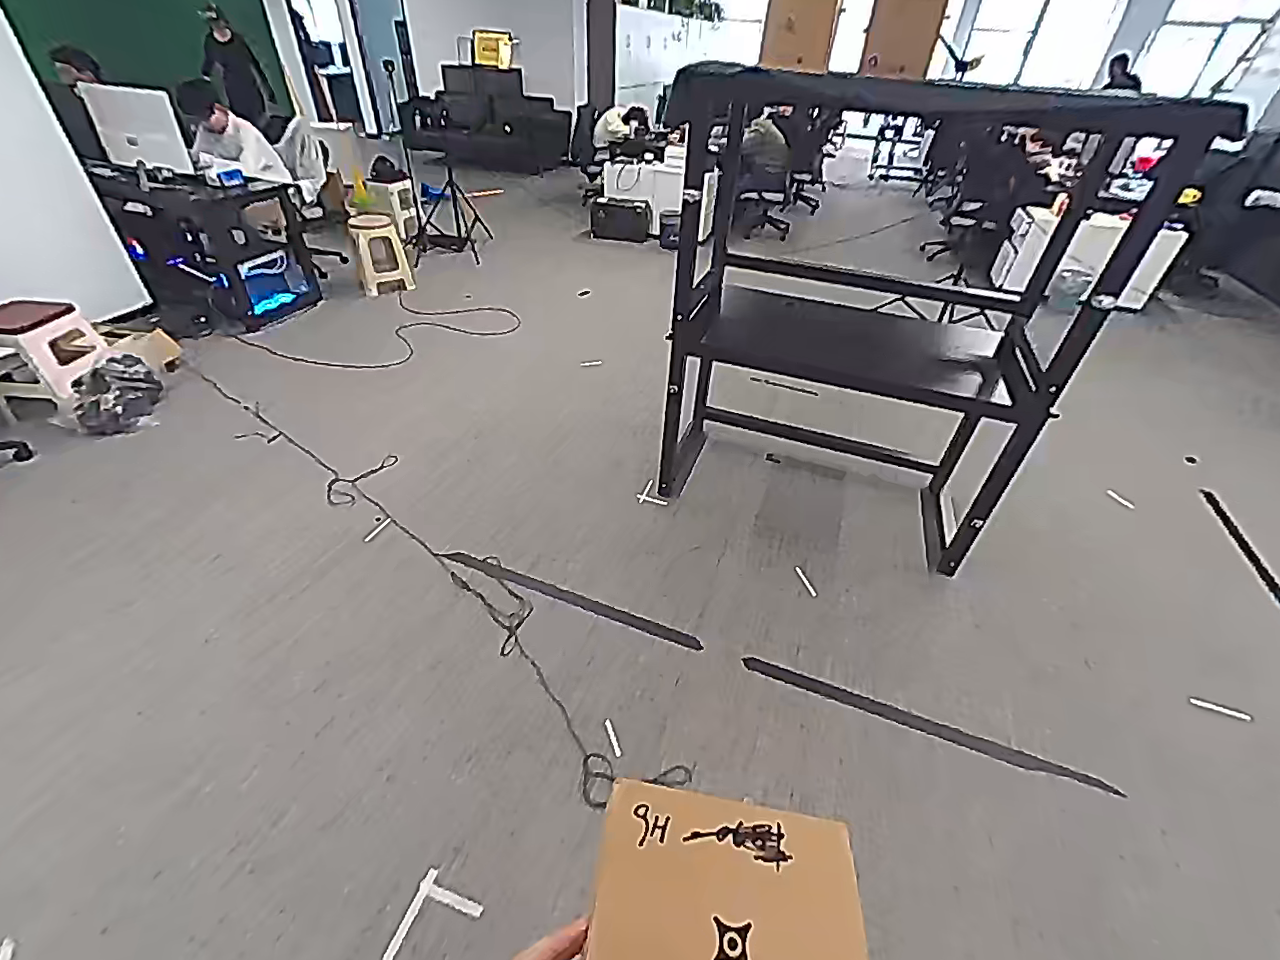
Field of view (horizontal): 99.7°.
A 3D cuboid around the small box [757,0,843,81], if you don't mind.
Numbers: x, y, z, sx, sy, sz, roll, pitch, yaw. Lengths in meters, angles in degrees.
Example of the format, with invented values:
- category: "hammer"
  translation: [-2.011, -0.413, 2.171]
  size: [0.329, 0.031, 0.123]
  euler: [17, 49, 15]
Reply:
- category: "small box"
  translation: [0.404, -1.123, 1.374]
  size: [0.168, 0.176, 0.179]
  euler: [16, 38, 13]

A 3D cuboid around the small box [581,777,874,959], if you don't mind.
- category: "small box"
  translation: [0.044, 0.336, 0.358]
  size: [0.168, 0.176, 0.179]
  euler: [11, 39, 1]

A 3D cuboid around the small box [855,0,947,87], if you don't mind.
- category: "small box"
  translation: [0.640, -1.077, 1.333]
  size: [0.168, 0.176, 0.179]
  euler: [16, 38, 15]
